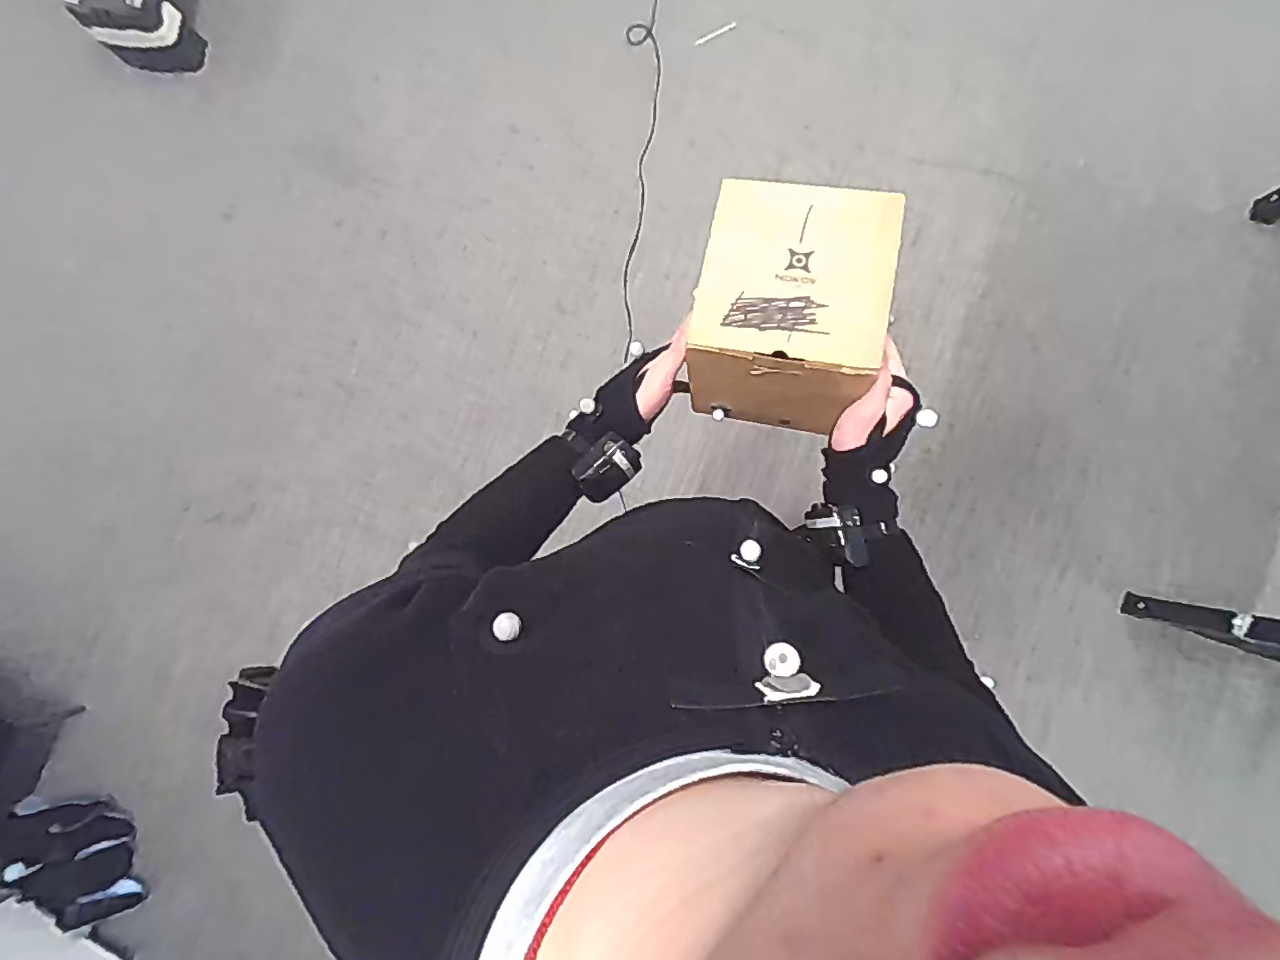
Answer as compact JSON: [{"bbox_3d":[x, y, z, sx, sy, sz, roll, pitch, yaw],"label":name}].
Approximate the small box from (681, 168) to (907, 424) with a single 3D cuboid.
[{"bbox_3d":[0.145,-0.171,0.544,0.168,0.176,0.179,12,78,10],"label":"small box"}]
